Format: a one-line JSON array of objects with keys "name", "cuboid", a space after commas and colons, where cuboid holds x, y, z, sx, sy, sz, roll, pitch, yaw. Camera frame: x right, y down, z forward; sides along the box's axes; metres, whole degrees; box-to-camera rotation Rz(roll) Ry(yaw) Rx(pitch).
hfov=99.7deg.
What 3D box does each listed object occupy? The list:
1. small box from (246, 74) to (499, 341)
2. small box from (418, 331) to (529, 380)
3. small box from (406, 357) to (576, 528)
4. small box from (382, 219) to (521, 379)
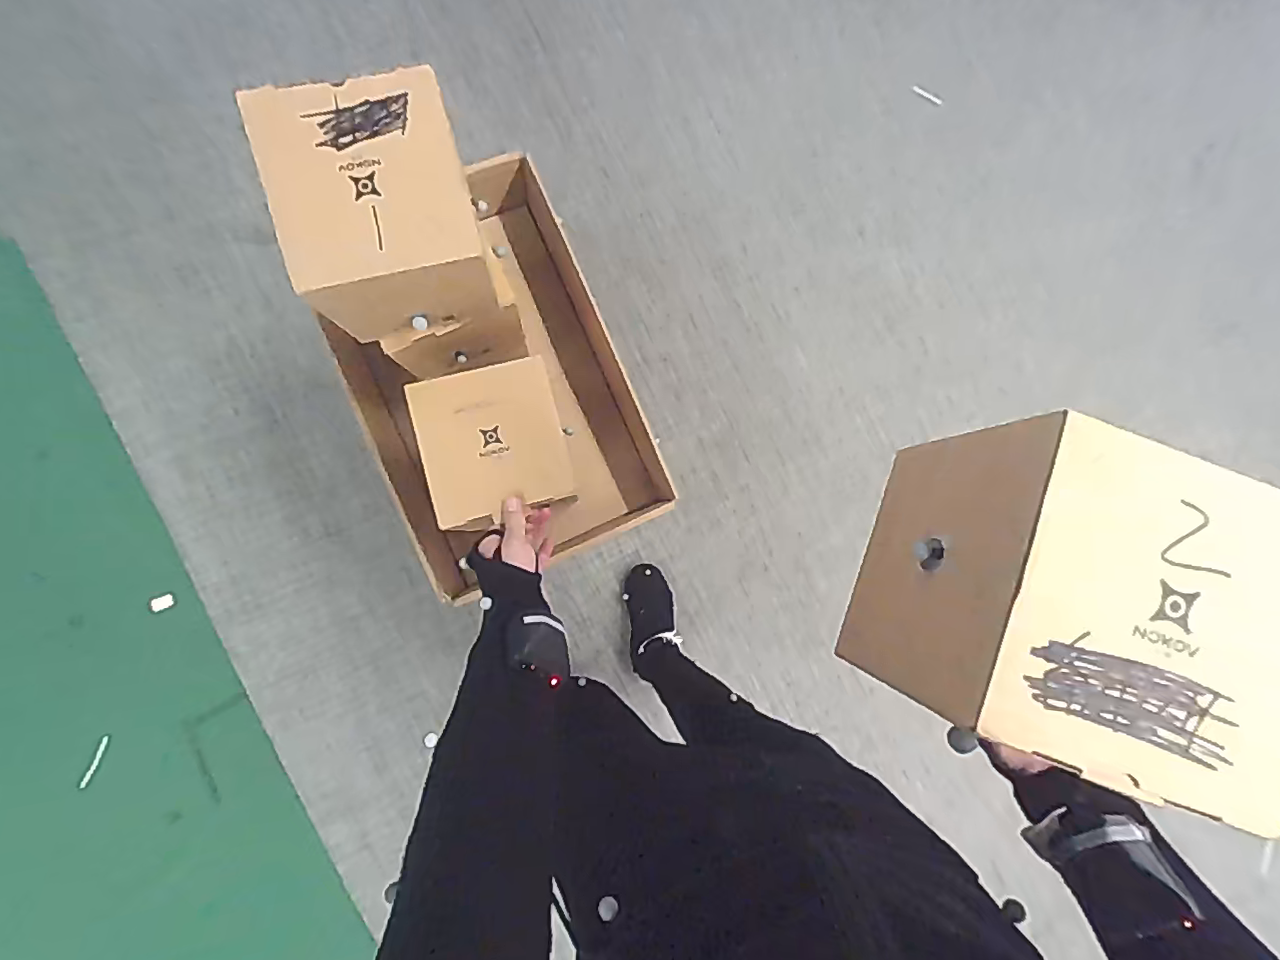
[{"name": "small box", "cuboid": [-0.253, -0.263, 0.557, 0.168, 0.176, 0.179, -15, 92, -8]}, {"name": "small box", "cuboid": [-0.292, -0.255, 0.881, 0.168, 0.176, 0.179, -24, 92, -7]}, {"name": "small box", "cuboid": [-0.183, -0.040, 0.714, 0.168, 0.176, 0.179, -15, 86, -8]}, {"name": "small box", "cuboid": [-0.270, -0.257, 0.721, 0.168, 0.176, 0.179, -25, 93, -9]}]
